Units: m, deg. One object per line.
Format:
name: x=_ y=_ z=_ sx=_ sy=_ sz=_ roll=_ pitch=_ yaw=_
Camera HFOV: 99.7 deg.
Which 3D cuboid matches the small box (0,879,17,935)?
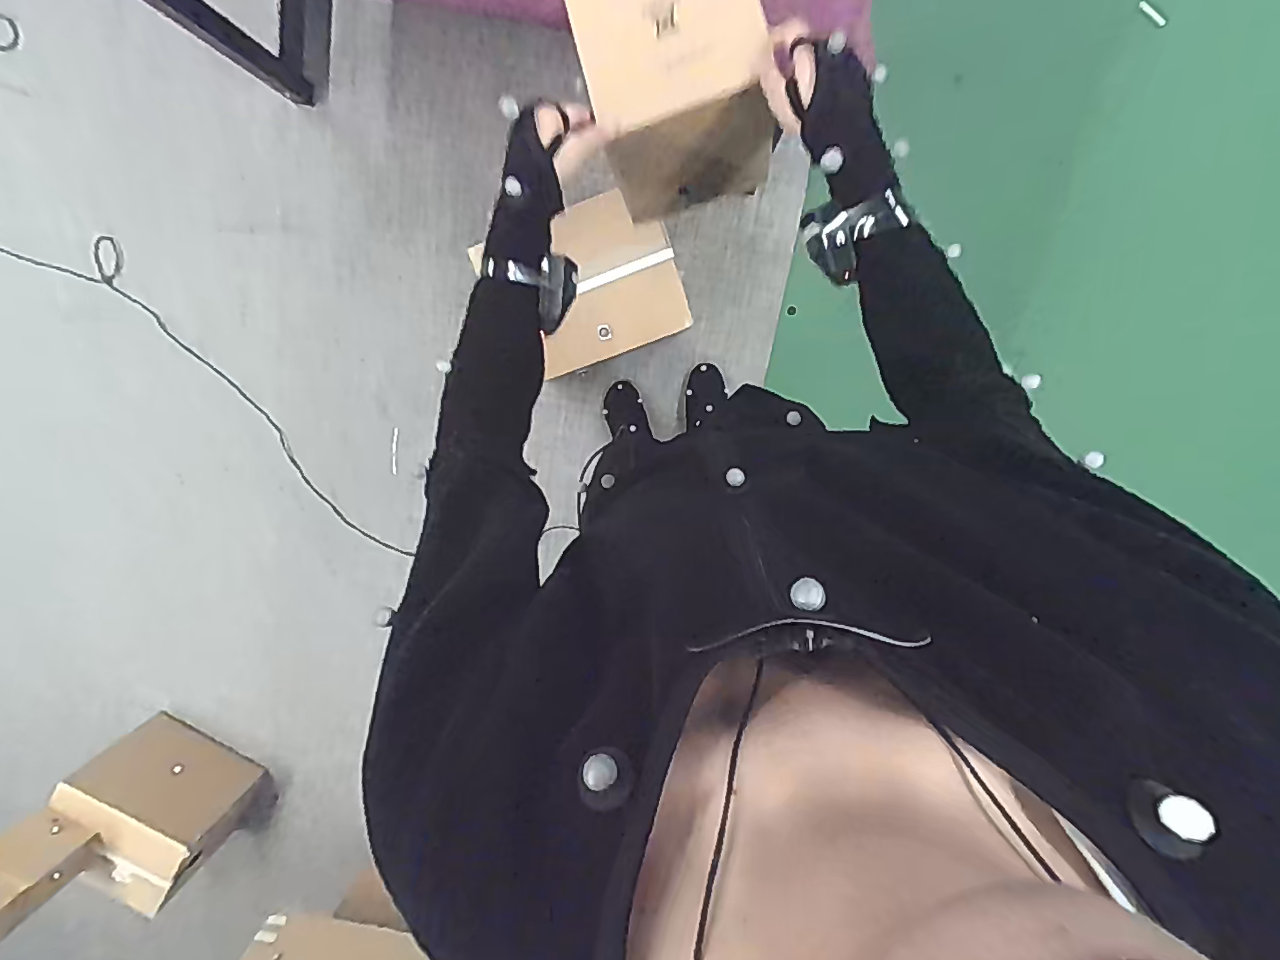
small box: x=-1.662 y=1.068 z=1.283 sx=0.168 sy=0.176 sz=0.179 roll=29 pitch=102 yaw=-3
